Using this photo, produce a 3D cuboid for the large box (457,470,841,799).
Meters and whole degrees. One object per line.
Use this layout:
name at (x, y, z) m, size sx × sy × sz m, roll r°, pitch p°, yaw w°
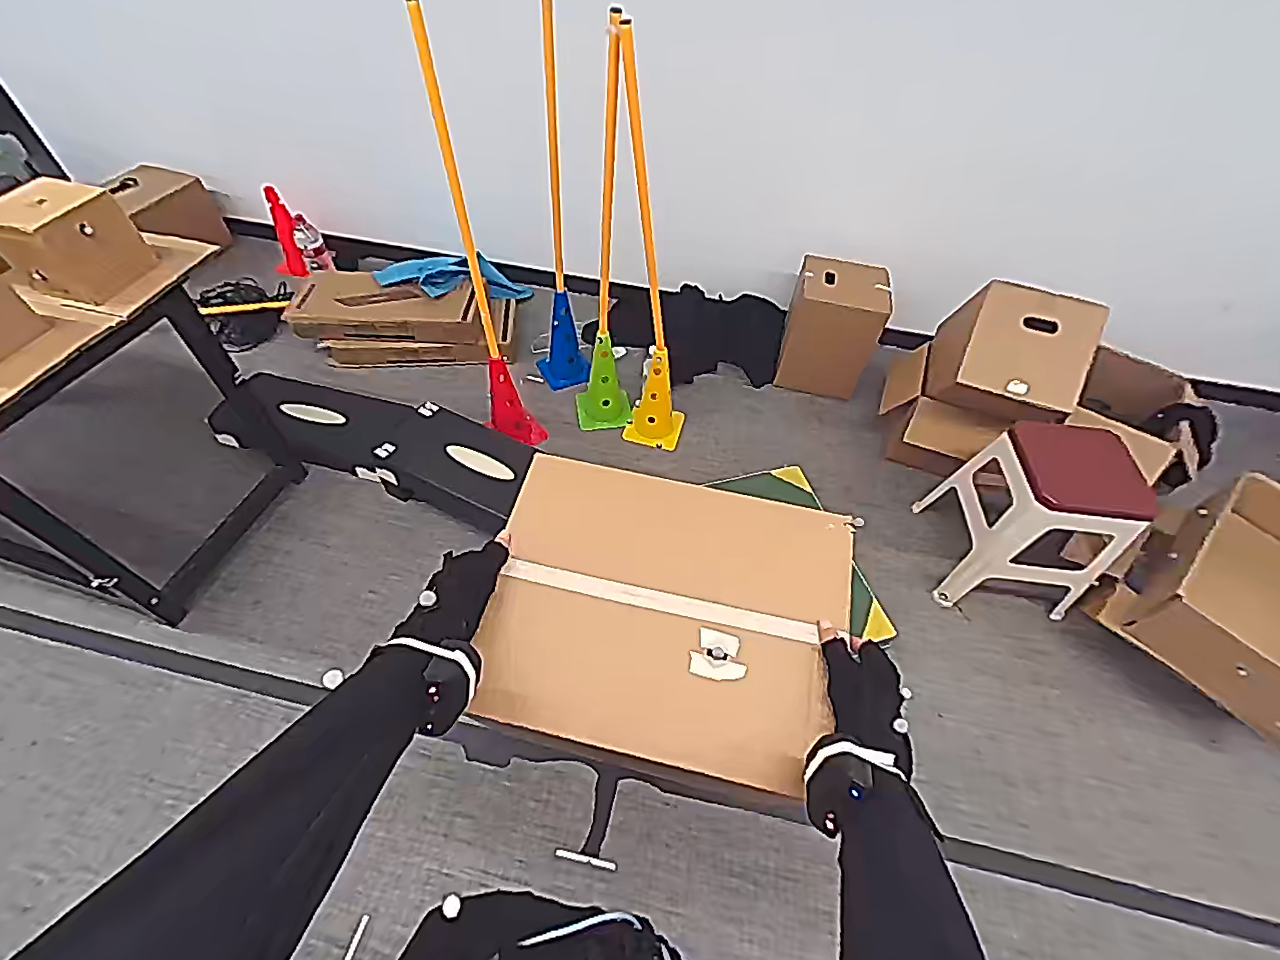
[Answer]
large box at (0.023, 0.225, 0.751) m, size 0.408 × 0.320 × 0.320 m, roll 12°, pitch 61°, yaw 5°
